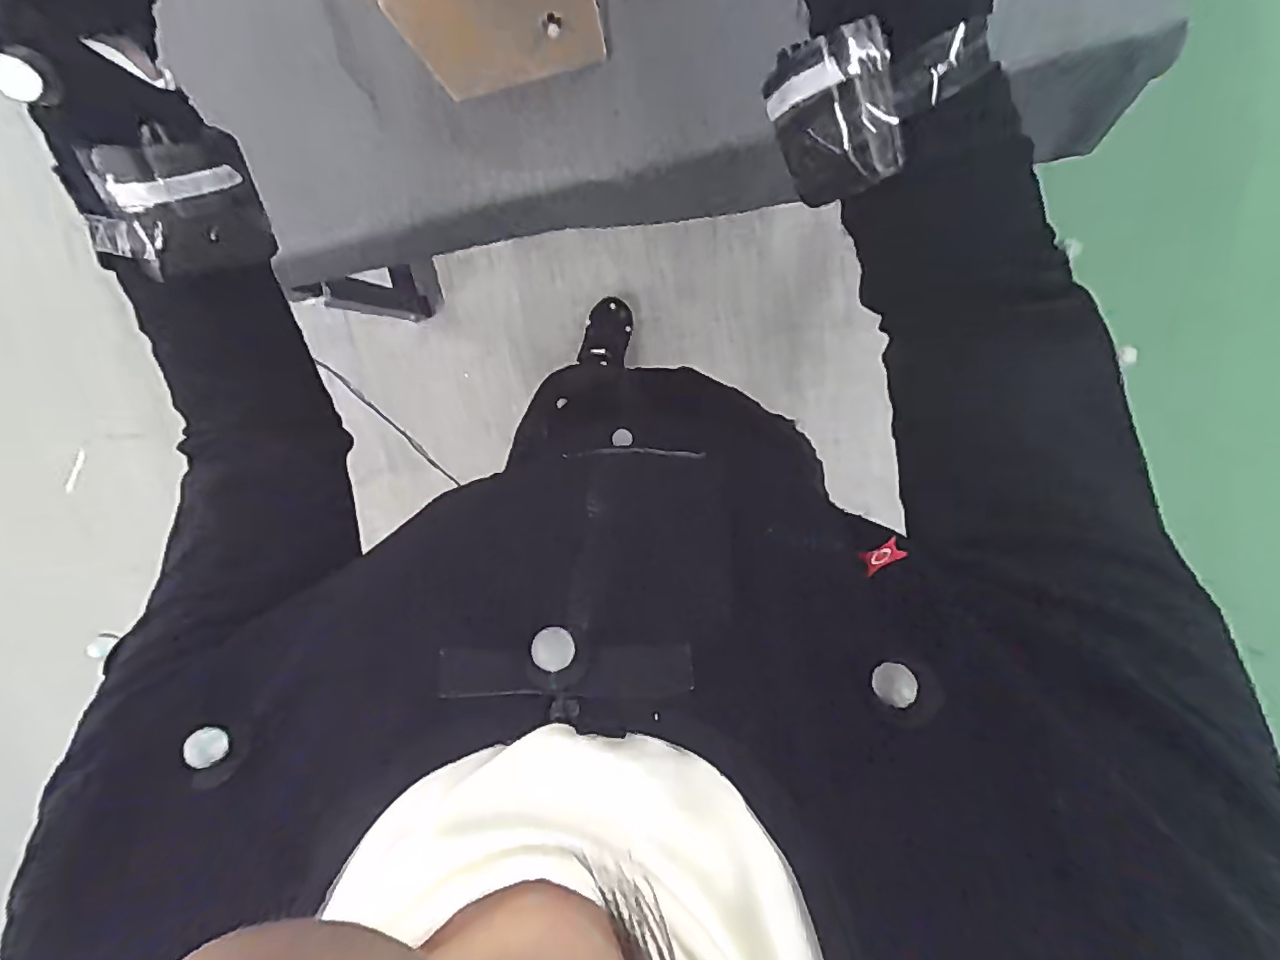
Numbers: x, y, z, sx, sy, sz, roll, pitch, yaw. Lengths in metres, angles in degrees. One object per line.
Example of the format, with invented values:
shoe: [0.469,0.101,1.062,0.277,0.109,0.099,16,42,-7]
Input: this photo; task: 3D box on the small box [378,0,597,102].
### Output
small box: [-0.144,-0.498,0.504,0.179,0.176,0.168,-12,100,7]
